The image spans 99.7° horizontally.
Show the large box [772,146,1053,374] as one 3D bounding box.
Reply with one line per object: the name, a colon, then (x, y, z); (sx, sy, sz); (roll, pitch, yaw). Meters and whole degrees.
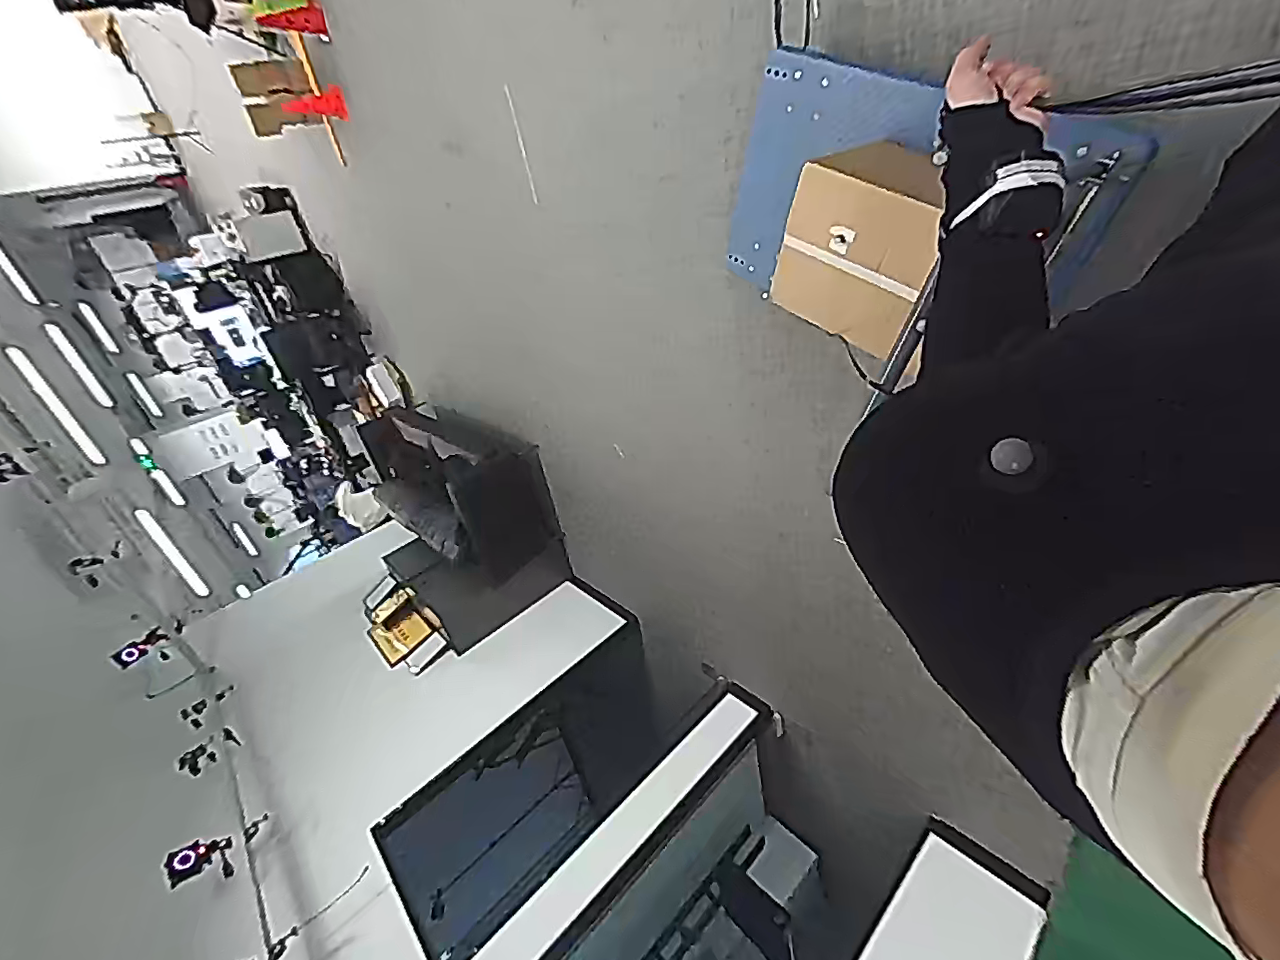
large box: (0.576, -0.500, 1.199); (0.408, 0.320, 0.320); (40, 144, 28)
